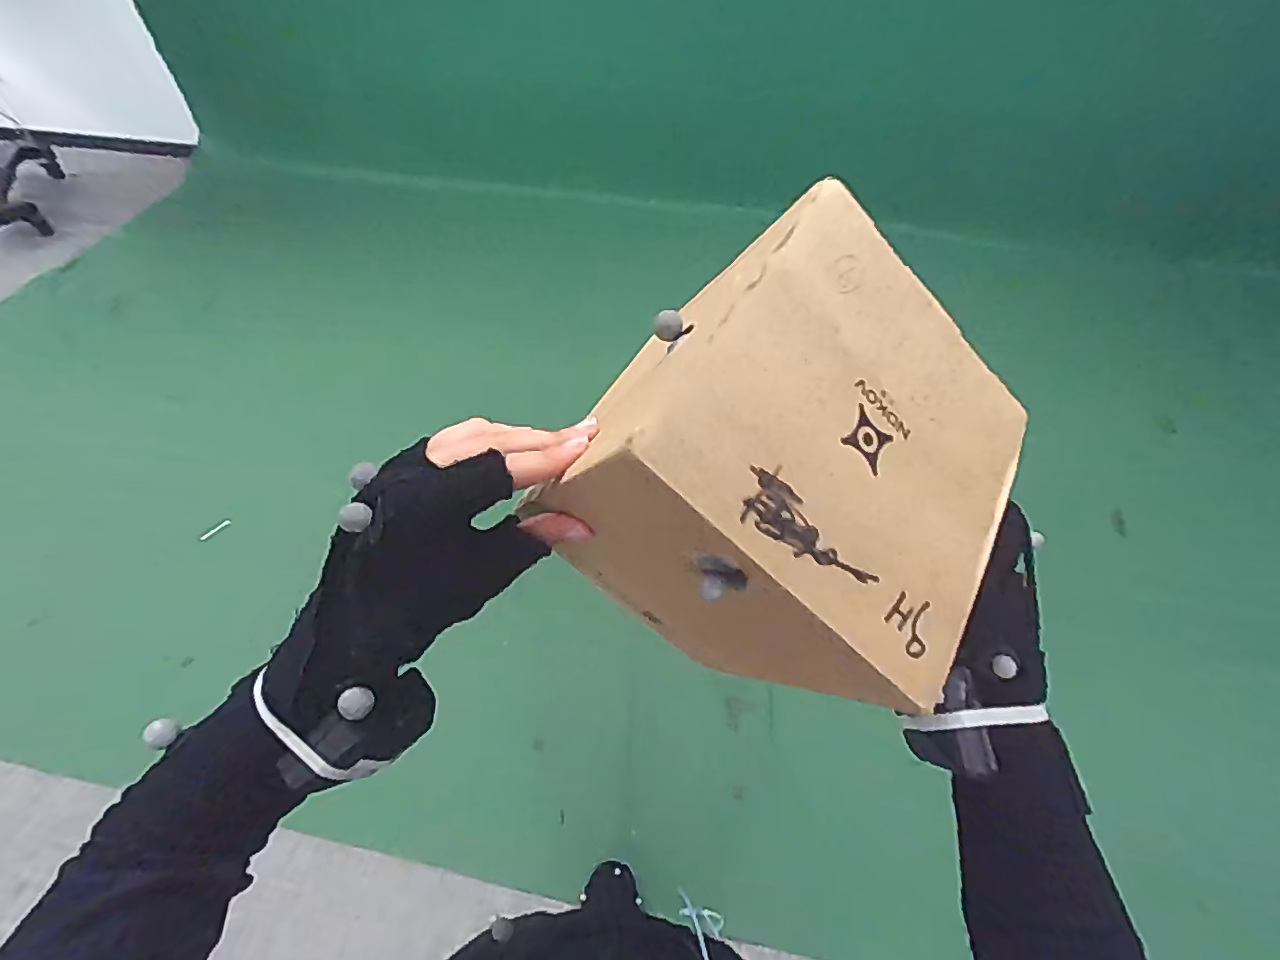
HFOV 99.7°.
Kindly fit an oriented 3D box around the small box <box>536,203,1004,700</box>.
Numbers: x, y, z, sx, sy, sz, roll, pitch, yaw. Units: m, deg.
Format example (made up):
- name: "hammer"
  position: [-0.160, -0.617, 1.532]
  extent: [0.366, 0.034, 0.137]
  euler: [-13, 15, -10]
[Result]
- name: "small box"
  position: [0.064, -0.007, 0.315]
  extent: [0.168, 0.176, 0.179]
  euler: [41, 65, -14]
